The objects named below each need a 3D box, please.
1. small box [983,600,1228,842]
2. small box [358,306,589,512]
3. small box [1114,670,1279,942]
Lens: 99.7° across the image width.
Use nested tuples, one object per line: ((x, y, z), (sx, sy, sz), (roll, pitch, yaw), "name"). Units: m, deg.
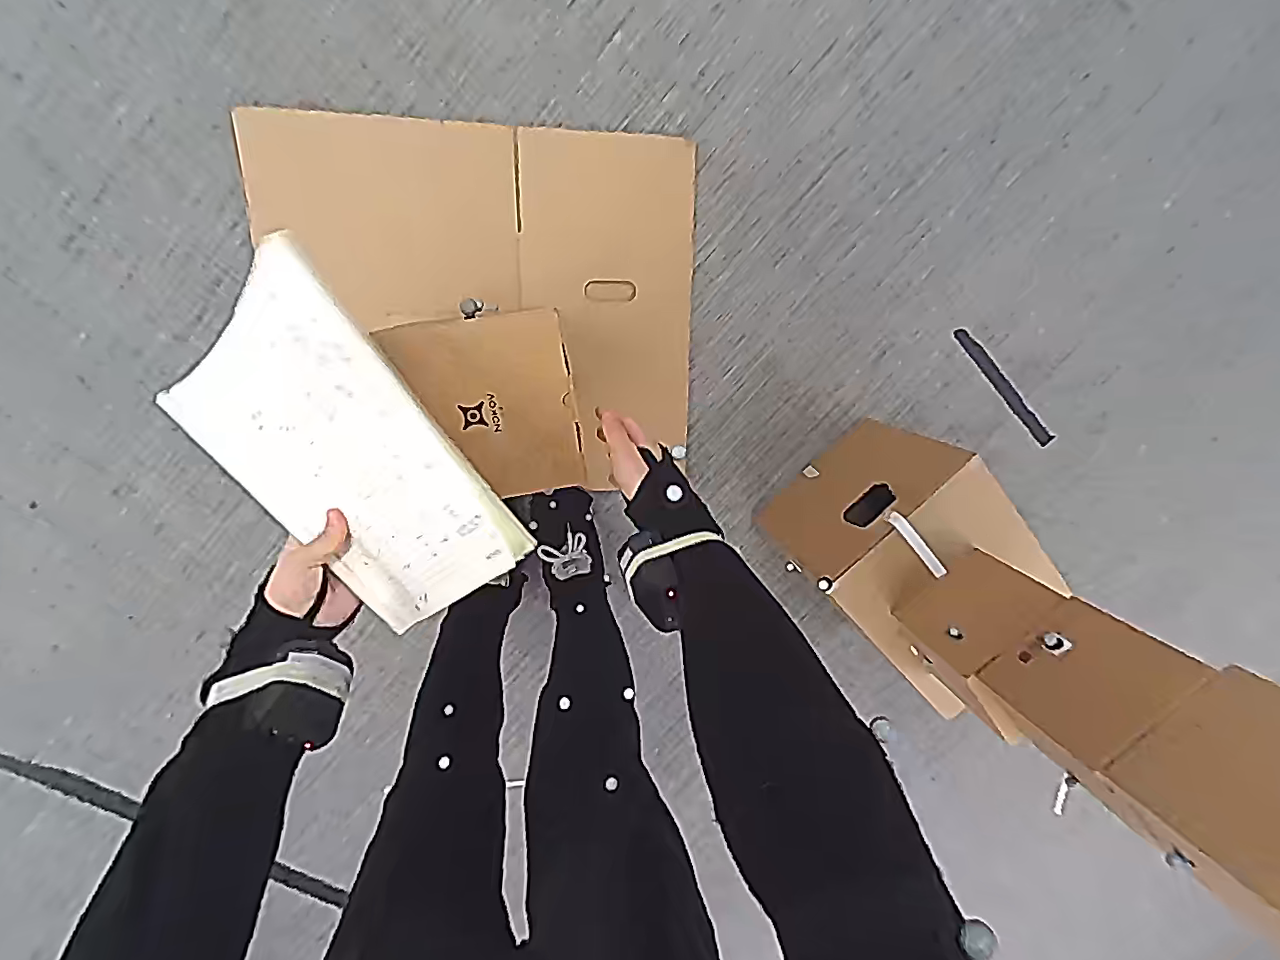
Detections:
((0.575, 0.280, 0.658), (0.168, 0.176, 0.179), (-45, 108, 4), "small box")
((-0.157, -0.083, 0.559), (0.179, 0.176, 0.168), (-11, 109, -9), "small box")
((0.610, 0.316, 0.501), (0.179, 0.176, 0.168), (-43, 109, 4), "small box")
